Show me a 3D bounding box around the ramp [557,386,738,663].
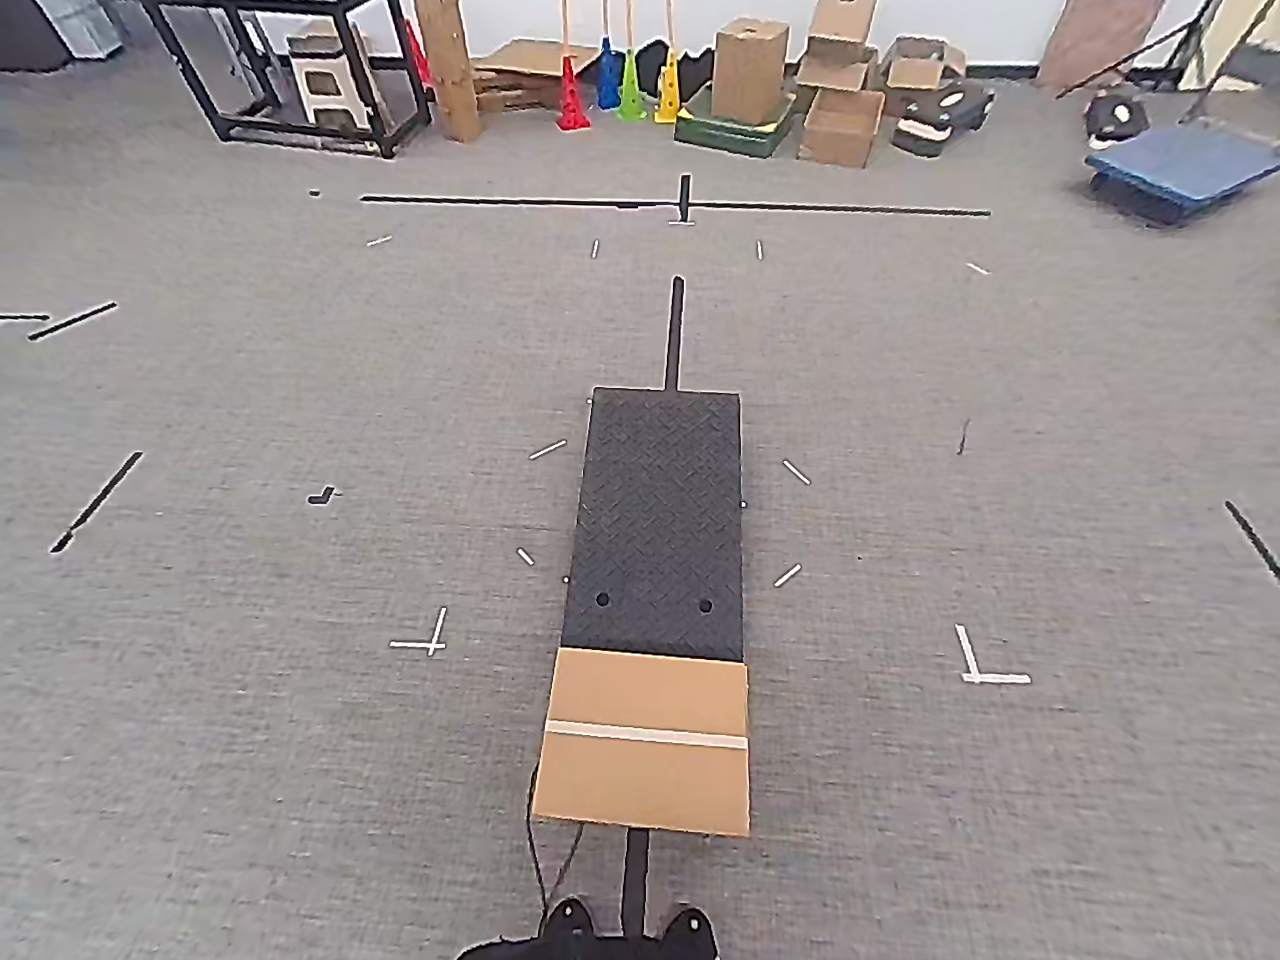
[{"bbox_3d":[0.046,0.147,1.604,0.509,0.206,0.991,3,54,0],"label":"ramp"}]

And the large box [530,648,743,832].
[{"bbox_3d":[0.004,0.582,1.207,0.408,0.320,0.320,4,57,2],"label":"large box"}]
